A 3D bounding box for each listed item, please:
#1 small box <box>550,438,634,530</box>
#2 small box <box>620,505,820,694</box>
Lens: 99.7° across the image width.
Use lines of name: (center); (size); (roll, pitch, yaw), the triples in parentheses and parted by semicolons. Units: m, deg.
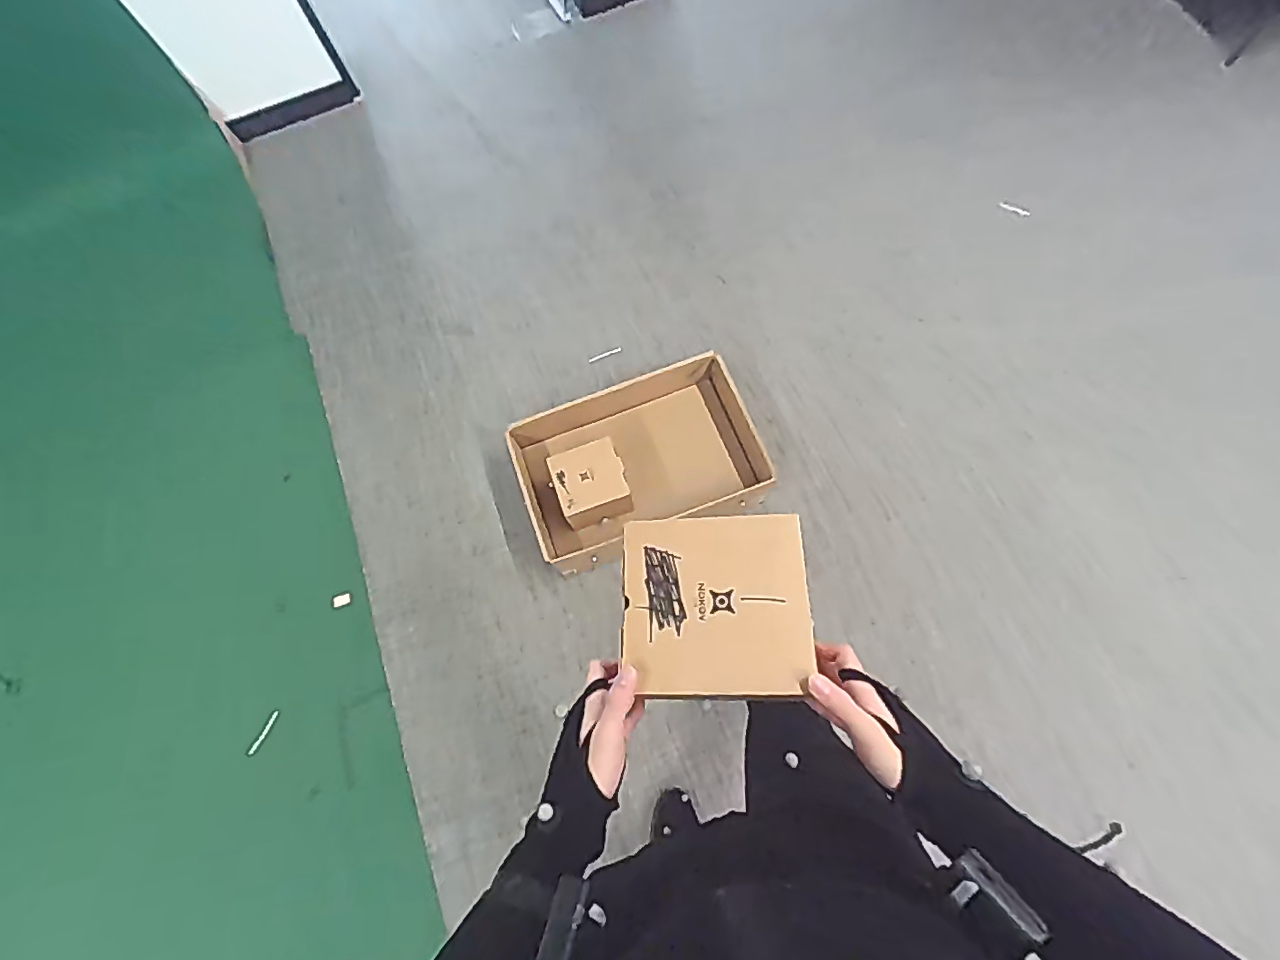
small box: (-0.121, 0.014, 1.420); (0.179, 0.176, 0.168); (-19, 71, -4)
small box: (0.082, 0.135, 0.573); (0.179, 0.176, 0.168); (-3, 66, 8)
